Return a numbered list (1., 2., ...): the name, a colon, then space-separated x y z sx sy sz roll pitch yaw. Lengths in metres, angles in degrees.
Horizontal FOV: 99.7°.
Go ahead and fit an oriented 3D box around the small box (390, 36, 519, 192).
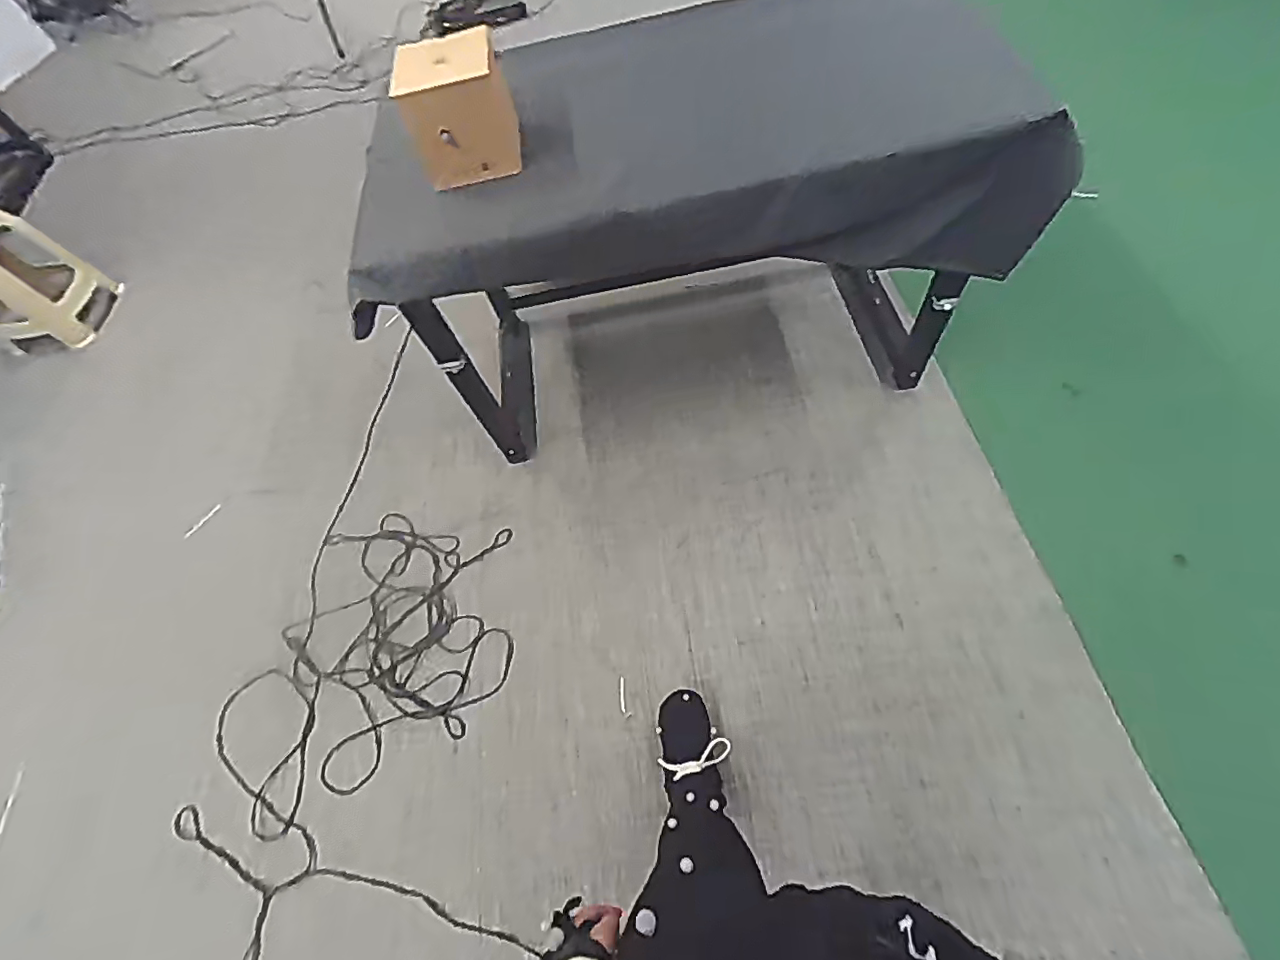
1. small box: -0.323 -0.647 0.974 0.168 0.176 0.179 -12 59 2
